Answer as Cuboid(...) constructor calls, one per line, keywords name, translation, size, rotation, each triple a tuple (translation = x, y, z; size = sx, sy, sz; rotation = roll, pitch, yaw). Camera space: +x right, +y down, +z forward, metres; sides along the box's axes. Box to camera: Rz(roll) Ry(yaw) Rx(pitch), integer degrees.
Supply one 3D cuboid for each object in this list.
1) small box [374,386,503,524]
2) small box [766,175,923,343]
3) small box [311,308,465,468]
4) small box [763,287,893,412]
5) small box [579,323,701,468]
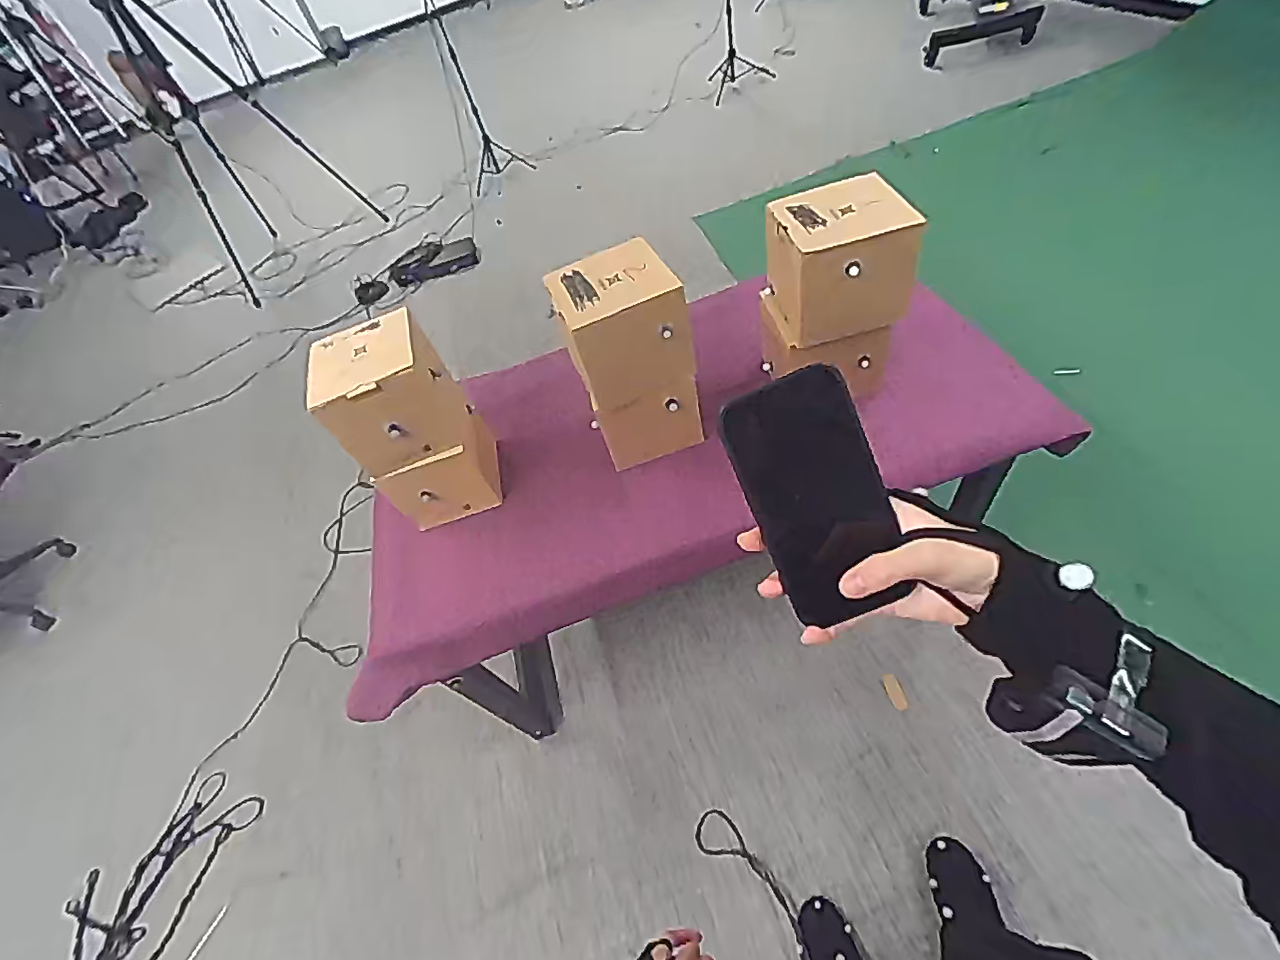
Cuboid(name="small box", translation=(-0.368, -0.038, 1.010), size=(0.168, 0.176, 0.179), rotation=(-19, 51, 1))
Cuboid(name="small box", translation=(0.309, -0.341, 0.850), size=(0.179, 0.176, 0.168), rotation=(-14, 51, 3))
Cuboid(name="small box", translation=(-0.405, -0.142, 0.888), size=(0.168, 0.176, 0.179), rotation=(-22, 52, -3))
Cuboid(name="small box", translation=(0.331, -0.252, 0.987), size=(0.179, 0.176, 0.168), rotation=(-14, 51, 4))
Cuboid(name="small box", translation=(0.006, -0.152, 0.995), size=(0.179, 0.176, 0.168), rotation=(-19, 51, 0))
